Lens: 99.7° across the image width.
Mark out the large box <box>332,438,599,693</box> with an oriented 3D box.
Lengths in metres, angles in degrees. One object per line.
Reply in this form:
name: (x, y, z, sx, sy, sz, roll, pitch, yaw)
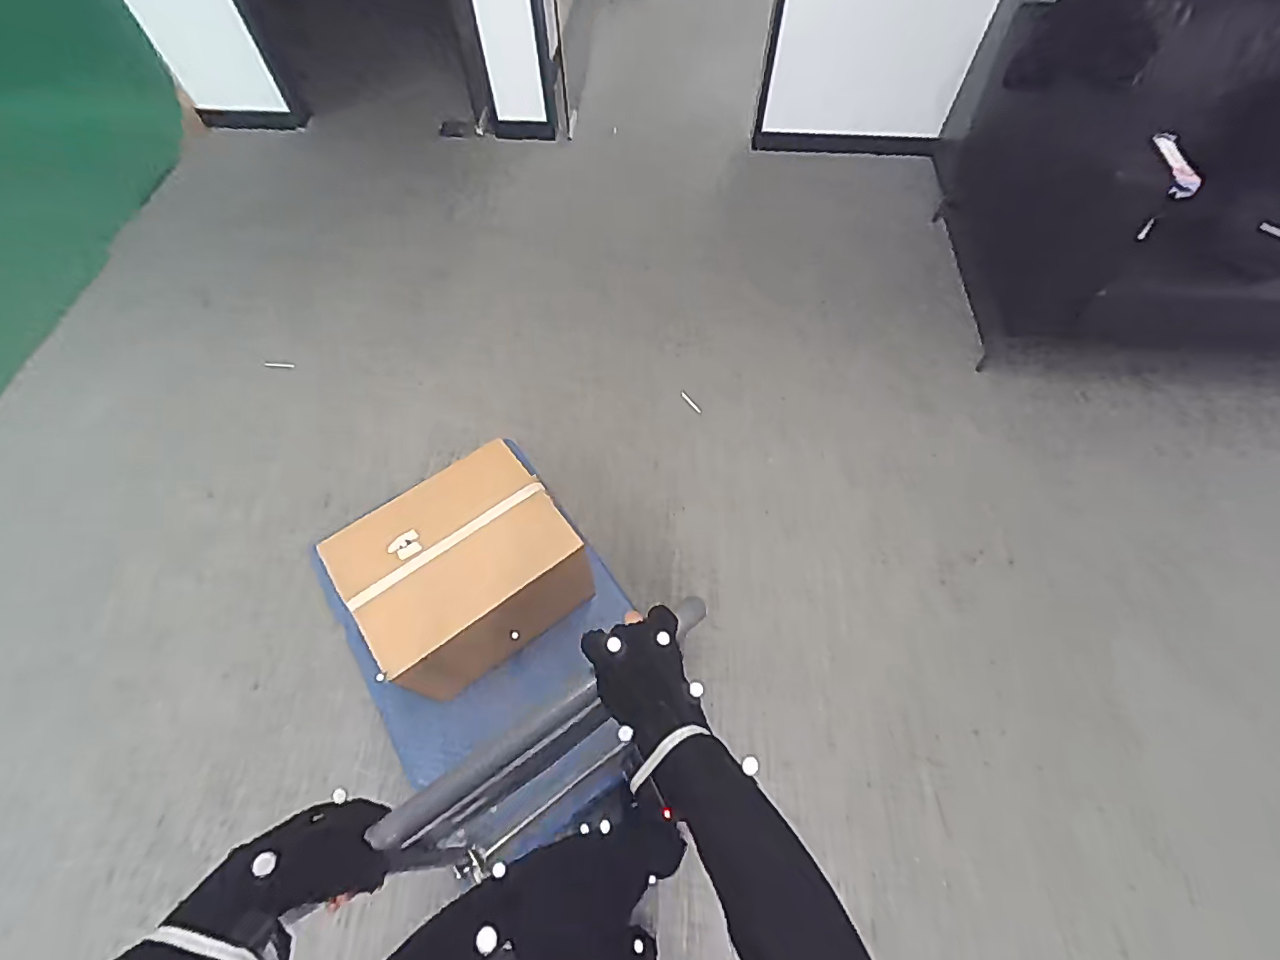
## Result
large box: (-0.342, 0.190, 1.168, 0.408, 0.320, 0.320, -36, 67, -17)
